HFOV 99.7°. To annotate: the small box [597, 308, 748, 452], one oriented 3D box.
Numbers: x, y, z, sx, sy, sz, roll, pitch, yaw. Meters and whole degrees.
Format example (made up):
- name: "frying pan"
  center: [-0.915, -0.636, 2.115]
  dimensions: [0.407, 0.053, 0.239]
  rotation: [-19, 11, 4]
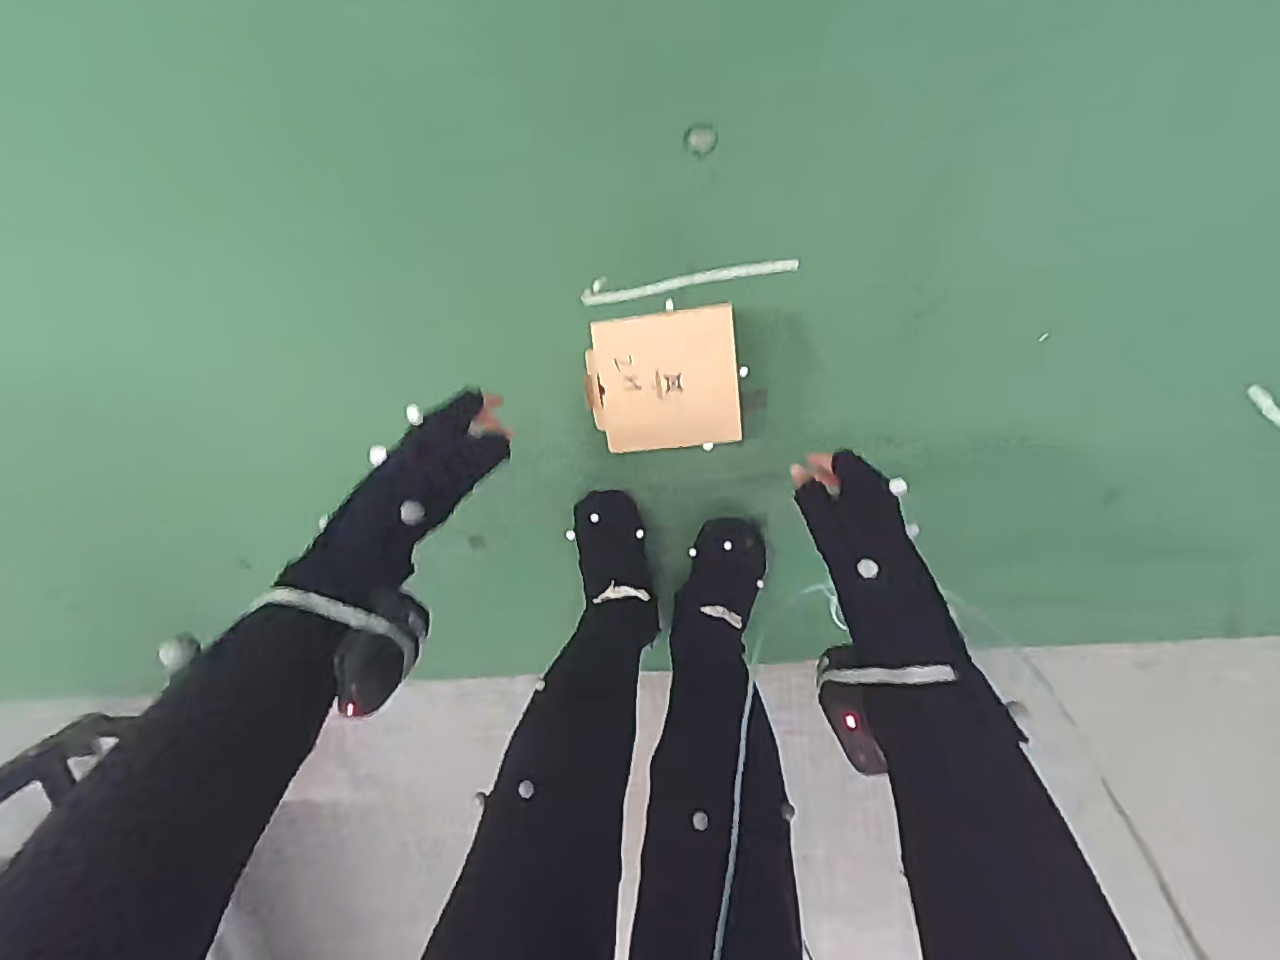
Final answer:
- name: "small box"
  center: [0.051, -0.143, 0.743]
  dimensions: [0.179, 0.176, 0.168]
  rotation: [-4, 106, 10]
